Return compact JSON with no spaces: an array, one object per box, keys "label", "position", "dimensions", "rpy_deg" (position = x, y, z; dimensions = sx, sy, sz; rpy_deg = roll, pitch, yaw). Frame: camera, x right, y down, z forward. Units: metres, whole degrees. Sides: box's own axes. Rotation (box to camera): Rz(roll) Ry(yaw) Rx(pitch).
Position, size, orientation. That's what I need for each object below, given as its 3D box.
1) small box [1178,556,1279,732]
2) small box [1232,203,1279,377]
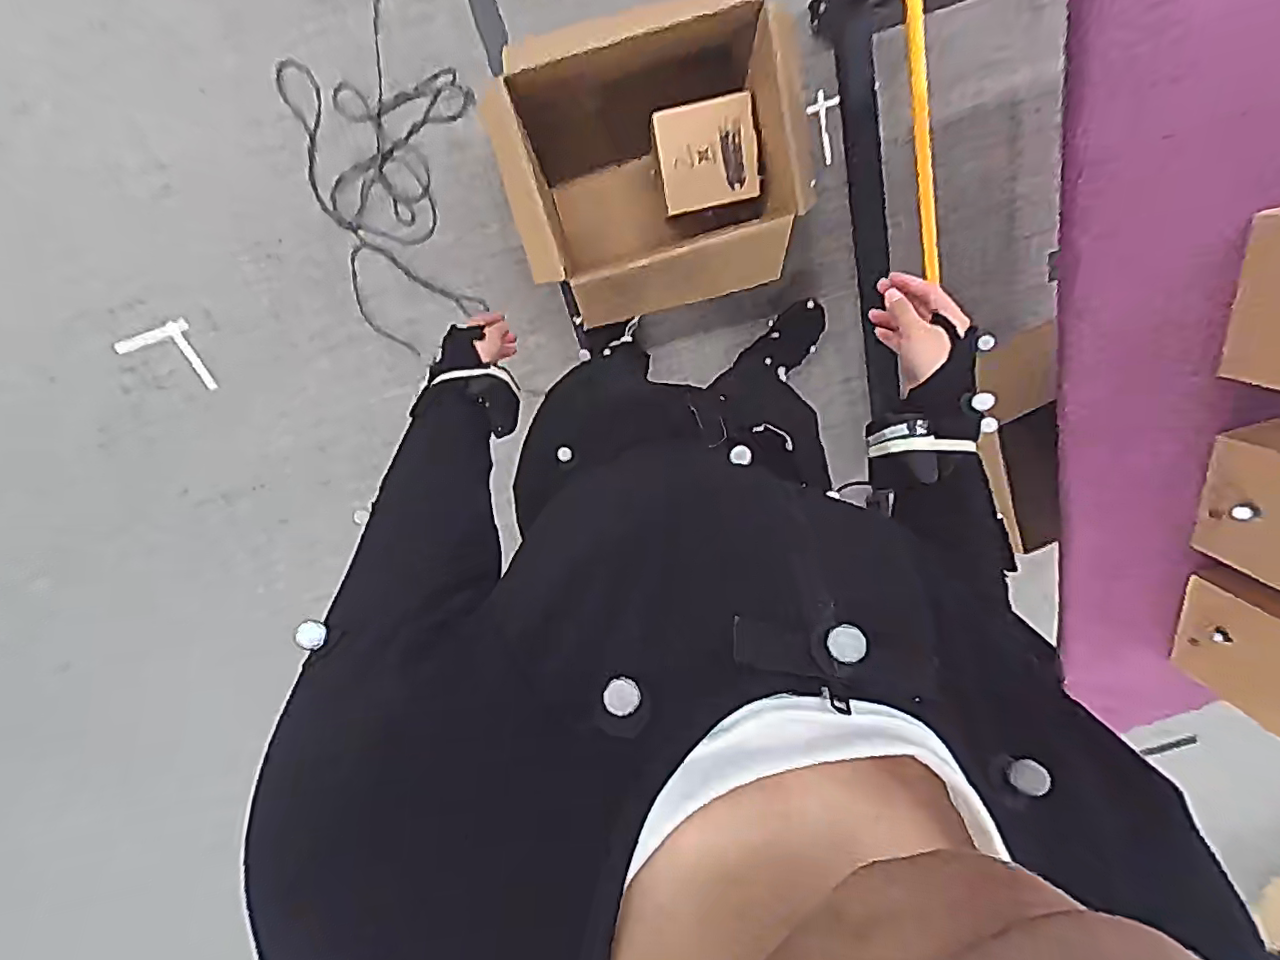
[{"label":"small box","position":[0.867,0.206,0.692],"dimensions":[0.179,0.176,0.168],"rpy_deg":[-14,114,1]},{"label":"small box","position":[0.730,-0.185,0.505],"dimensions":[0.168,0.176,0.179],"rpy_deg":[-14,113,2]}]
